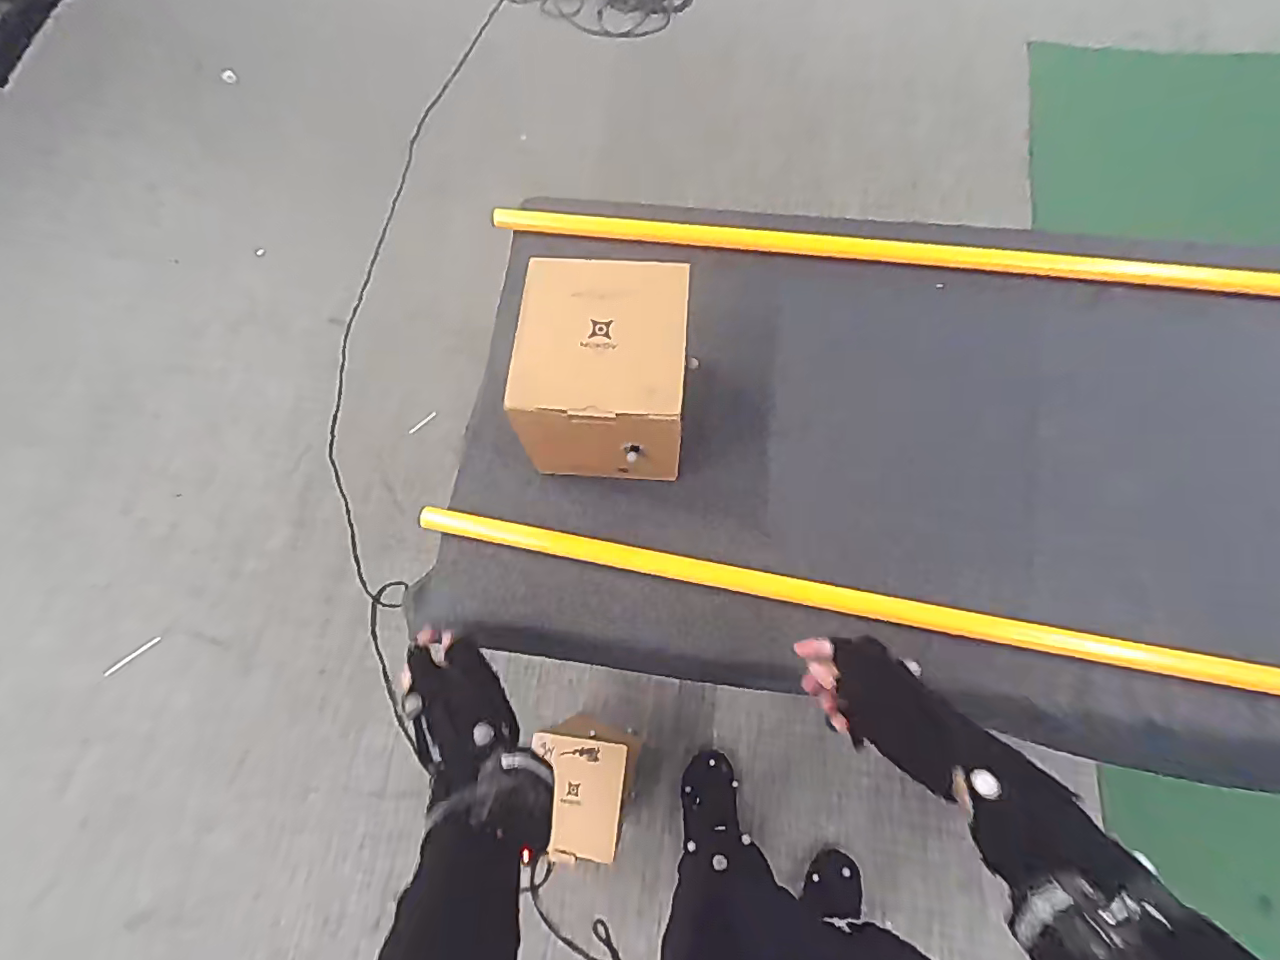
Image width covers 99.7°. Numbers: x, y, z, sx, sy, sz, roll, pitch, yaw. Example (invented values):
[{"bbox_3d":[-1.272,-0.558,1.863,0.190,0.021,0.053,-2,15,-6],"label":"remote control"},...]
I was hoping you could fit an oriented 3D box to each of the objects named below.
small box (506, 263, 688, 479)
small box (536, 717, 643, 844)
[{"bbox_3d":[-0.035,-0.111,0.599,0.168,0.176,0.179,3,69,3],"label":"small box"},{"bbox_3d":[-0.094,0.607,1.118,0.168,0.176,0.179,15,73,9],"label":"small box"}]
